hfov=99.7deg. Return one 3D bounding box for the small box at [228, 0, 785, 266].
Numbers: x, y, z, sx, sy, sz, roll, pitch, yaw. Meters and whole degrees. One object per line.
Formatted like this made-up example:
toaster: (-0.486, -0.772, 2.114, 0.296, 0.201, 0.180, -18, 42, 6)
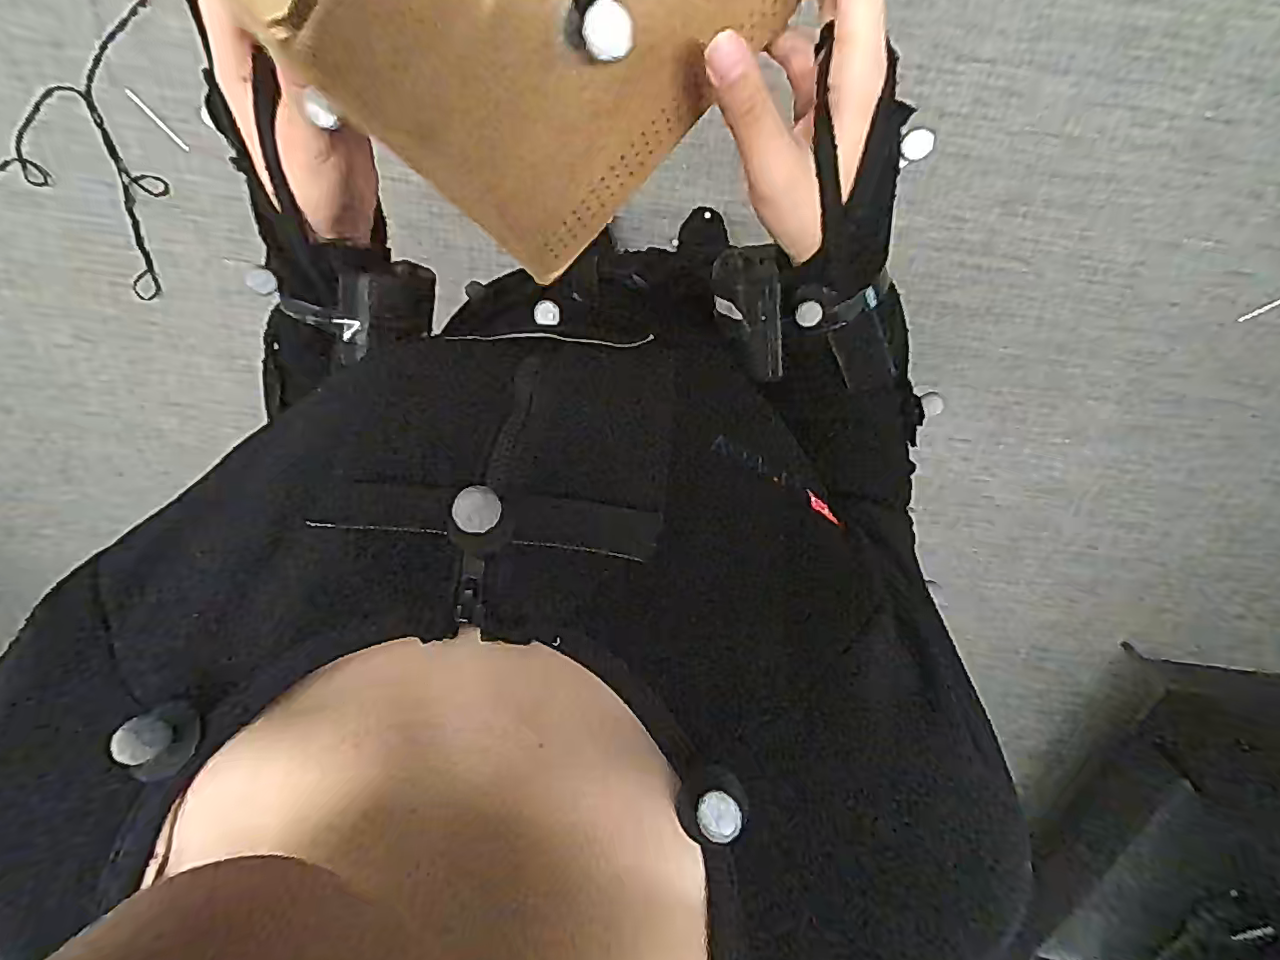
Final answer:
small box: (-0.054, -0.213, 0.196, 0.168, 0.176, 0.179, 46, 100, 5)
